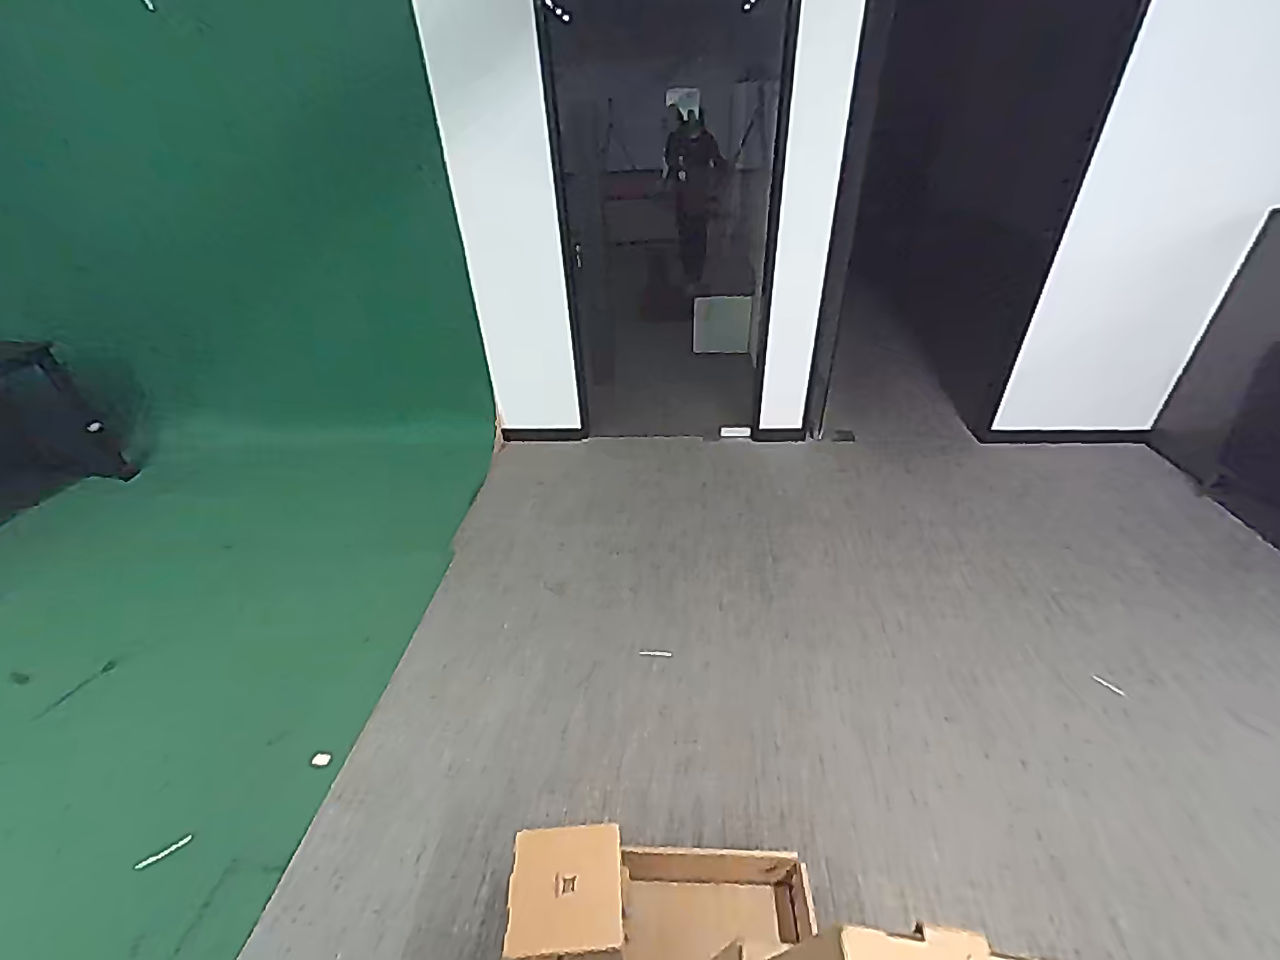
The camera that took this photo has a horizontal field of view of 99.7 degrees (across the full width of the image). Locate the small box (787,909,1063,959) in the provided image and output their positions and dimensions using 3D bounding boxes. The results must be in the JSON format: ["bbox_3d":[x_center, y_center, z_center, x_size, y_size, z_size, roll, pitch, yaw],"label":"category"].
[{"bbox_3d":[0.185,0.412,0.341,0.168,0.176,0.179,8,36,-3],"label":"small box"}]

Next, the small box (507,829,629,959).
[{"bbox_3d":[-0.107,0.701,0.887,0.179,0.176,0.168,-4,36,-2],"label":"small box"}]

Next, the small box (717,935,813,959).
[{"bbox_3d":[0.148,0.527,0.466,0.179,0.176,0.168,11,39,-3],"label":"small box"}]
